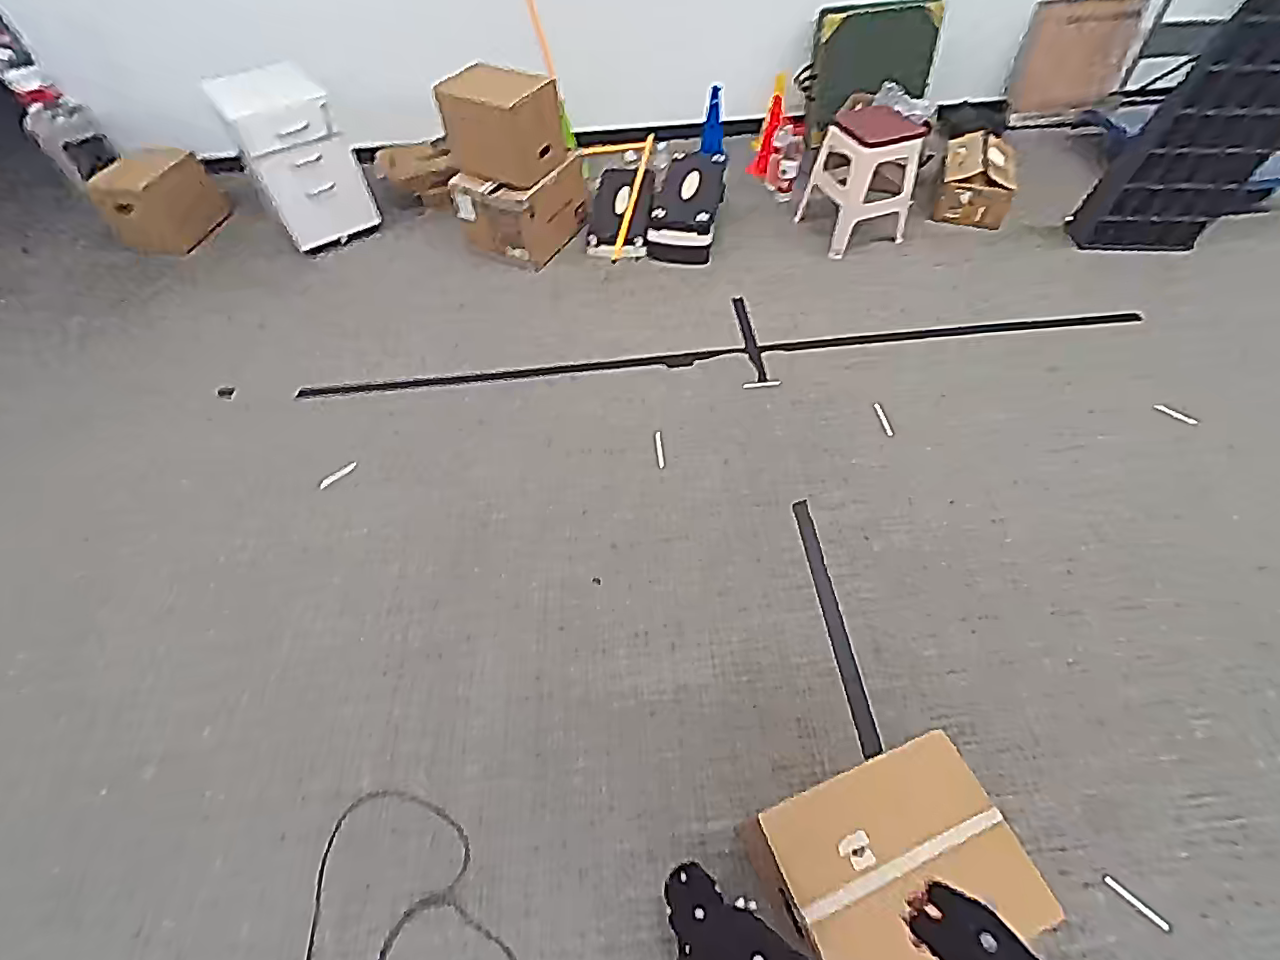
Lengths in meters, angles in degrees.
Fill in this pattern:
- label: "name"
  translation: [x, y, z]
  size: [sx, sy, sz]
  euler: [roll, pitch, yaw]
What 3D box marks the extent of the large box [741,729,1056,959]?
- label: "large box"
  translation: [0.458, 0.746, 1.055]
  size: [0.408, 0.320, 0.320]
  euler: [-19, 55, -11]
